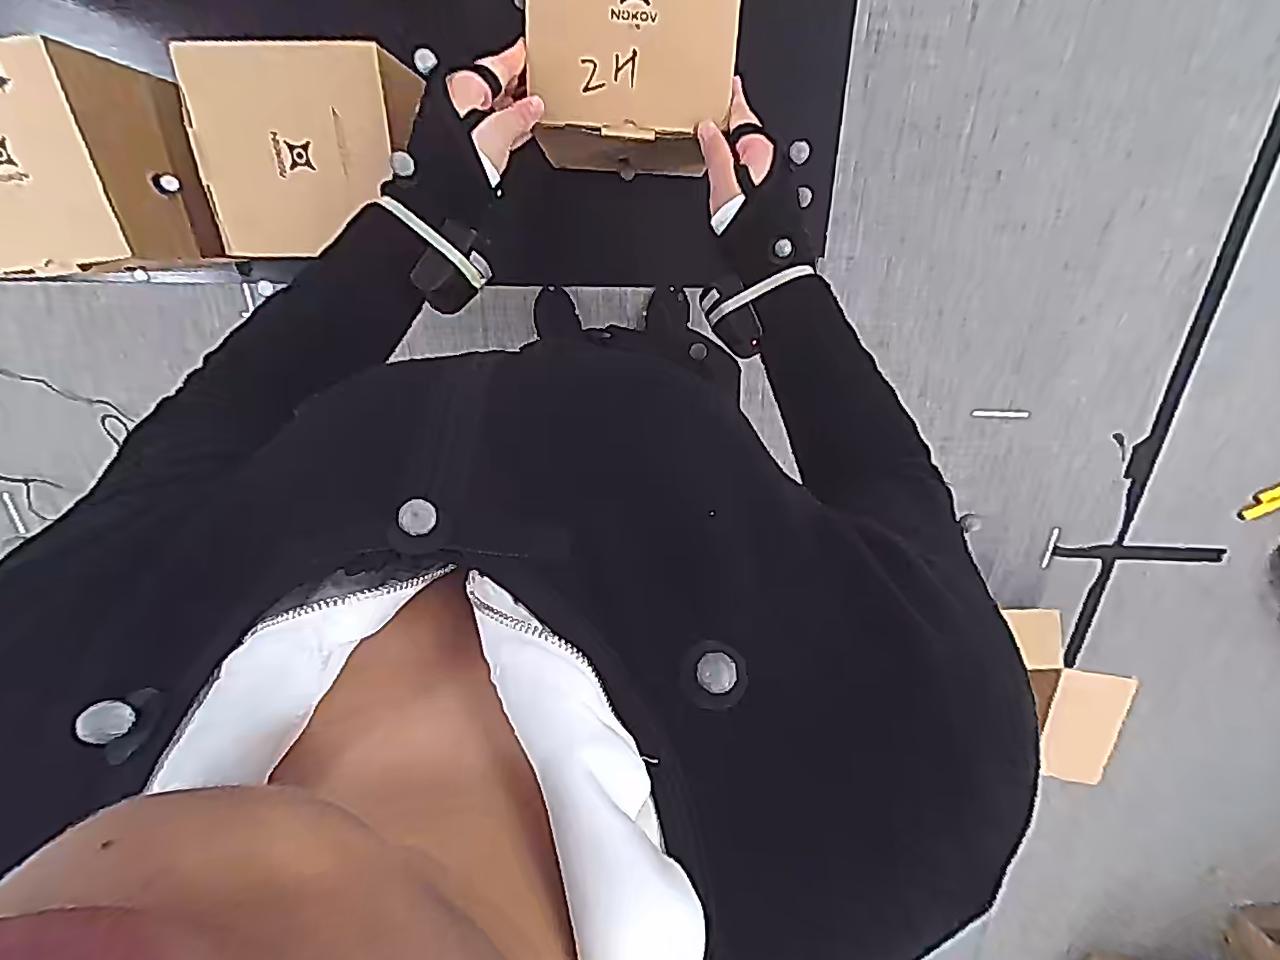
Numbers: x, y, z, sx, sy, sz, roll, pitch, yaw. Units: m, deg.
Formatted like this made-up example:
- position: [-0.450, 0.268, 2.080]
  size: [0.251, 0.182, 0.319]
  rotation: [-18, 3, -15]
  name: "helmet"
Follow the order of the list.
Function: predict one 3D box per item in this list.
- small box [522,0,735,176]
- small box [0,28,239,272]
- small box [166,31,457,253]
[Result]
- position: [-0.011, -0.395, 0.488]
  size: [0.168, 0.176, 0.179]
  rotation: [3, 110, -2]
  name: "small box"
- position: [-0.563, -0.316, 0.550]
  size: [0.168, 0.176, 0.179]
  rotation: [-5, 113, 2]
  name: "small box"
- position: [-0.305, -0.321, 0.547]
  size: [0.179, 0.176, 0.168]
  rotation: [0, 113, 0]
  name: "small box"
